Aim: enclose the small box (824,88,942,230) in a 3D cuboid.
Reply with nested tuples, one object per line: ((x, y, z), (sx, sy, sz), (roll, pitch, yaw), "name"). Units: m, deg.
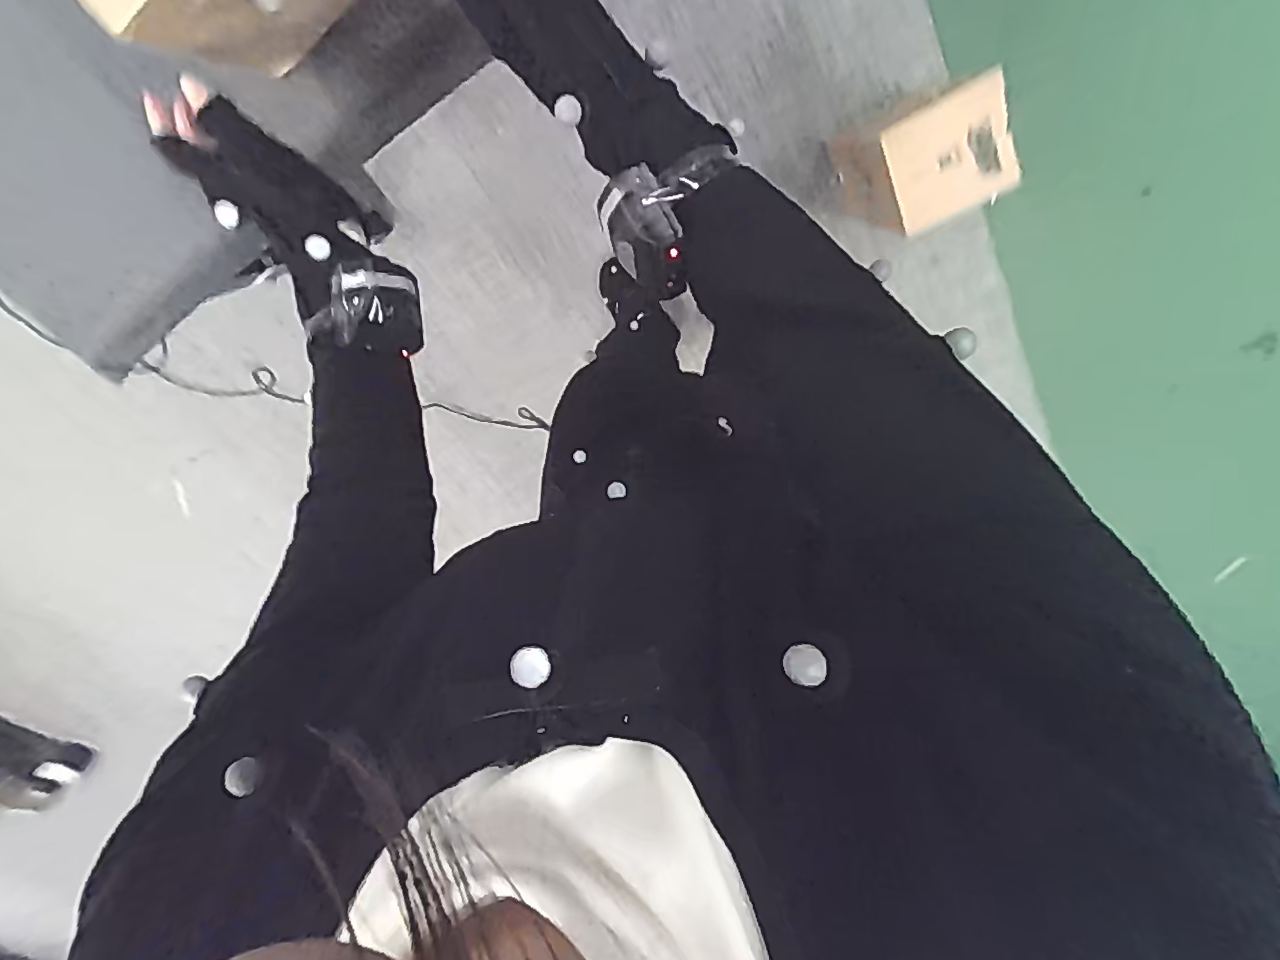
((0.478, -0.612, 1.040), (0.179, 0.176, 0.168), (-24, 116, 18), "small box")

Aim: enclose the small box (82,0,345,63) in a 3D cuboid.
((-0.293, -0.415, 0.348), (0.179, 0.176, 0.168), (-27, 115, 18), "small box")

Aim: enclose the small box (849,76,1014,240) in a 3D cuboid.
((0.474, -0.529, 0.898), (0.179, 0.176, 0.168), (-23, 116, 17), "small box")
